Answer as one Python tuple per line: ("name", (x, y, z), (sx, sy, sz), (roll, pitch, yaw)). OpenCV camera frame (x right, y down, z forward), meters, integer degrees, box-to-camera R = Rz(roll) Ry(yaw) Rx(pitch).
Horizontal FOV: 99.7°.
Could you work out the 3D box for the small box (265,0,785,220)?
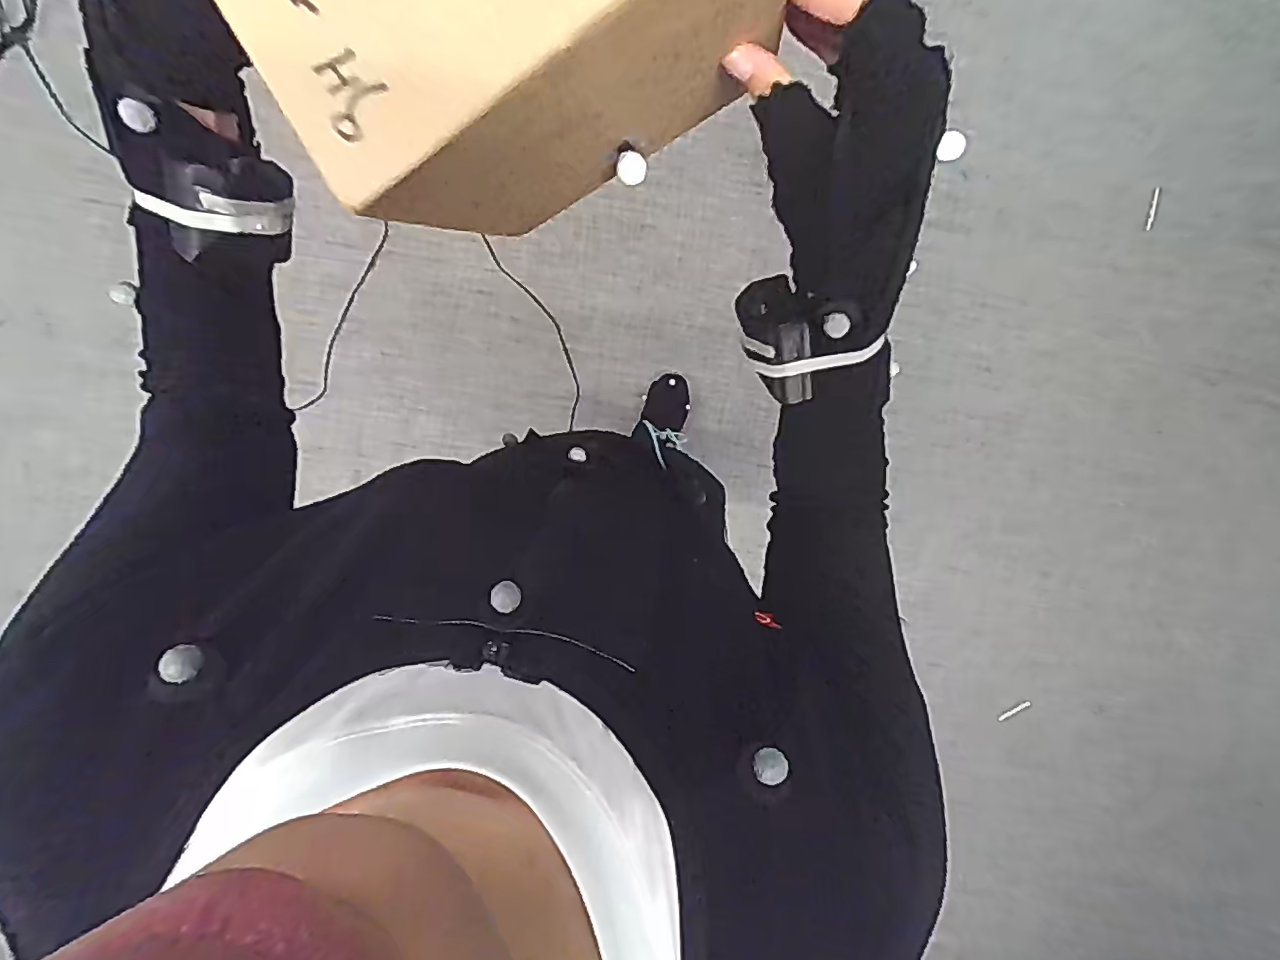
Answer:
("small box", (-0.047, -0.236, 0.233), (0.179, 0.176, 0.168), (-24, 107, 18))
